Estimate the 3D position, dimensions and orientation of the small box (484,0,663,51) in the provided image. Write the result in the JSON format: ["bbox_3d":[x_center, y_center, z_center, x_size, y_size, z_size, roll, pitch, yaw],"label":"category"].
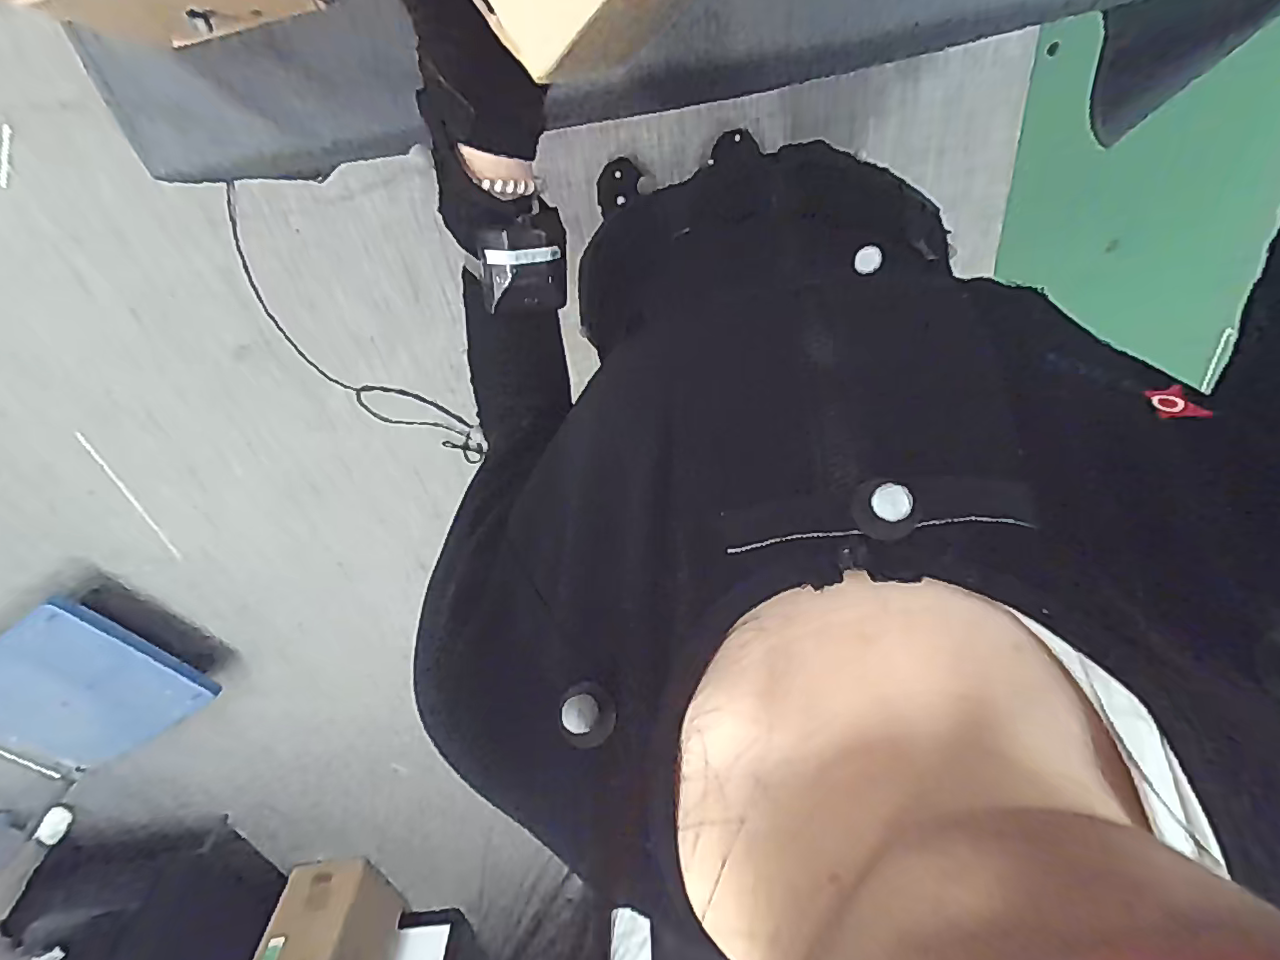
[{"bbox_3d":[-0.016,-0.324,0.225,0.179,0.176,0.168,-26,119,31],"label":"small box"}]

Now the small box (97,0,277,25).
[{"bbox_3d":[-0.385,-0.471,0.392,0.168,0.176,0.179,-10,122,5],"label":"small box"}]
